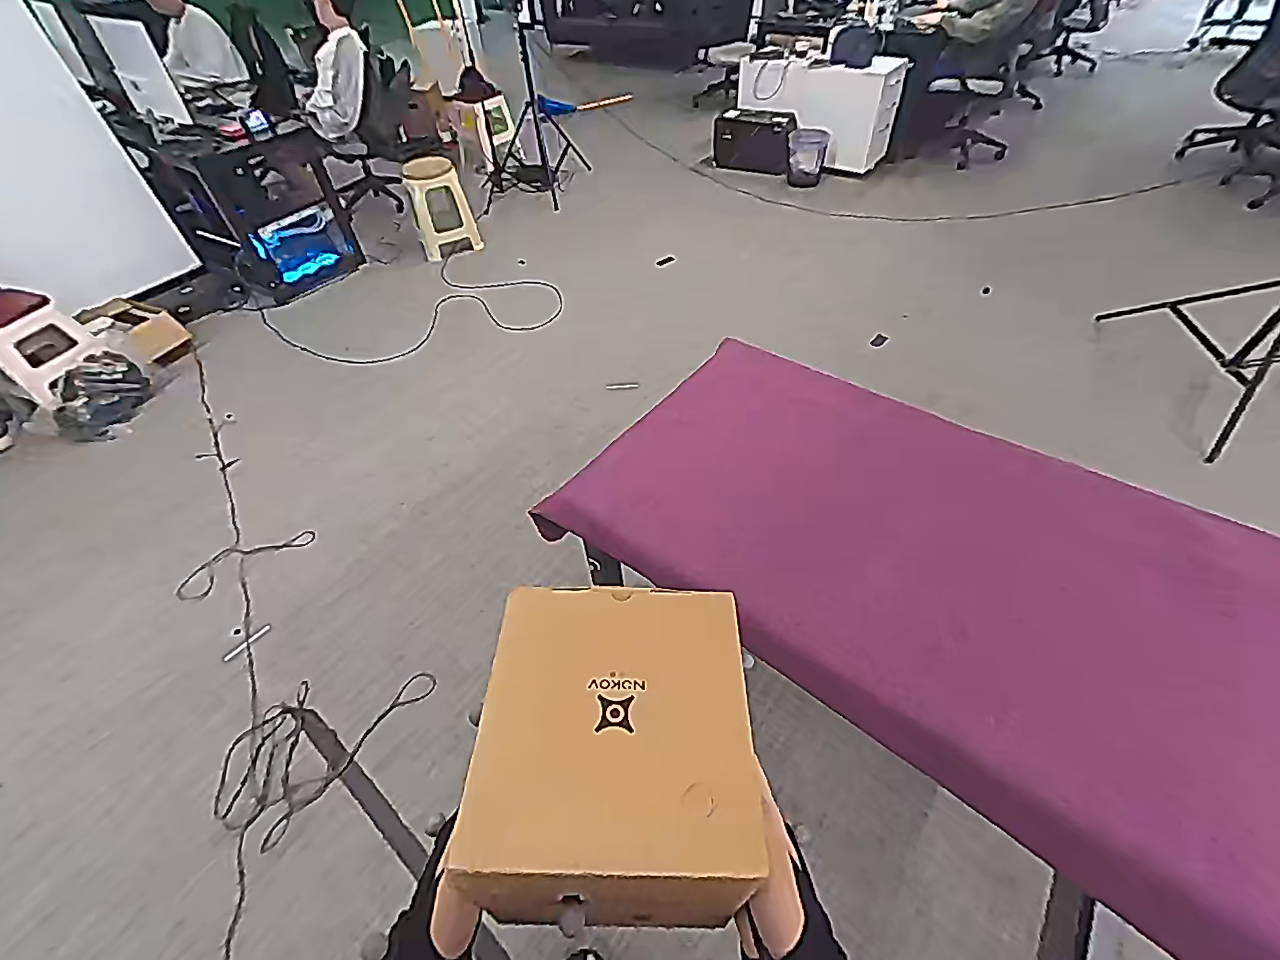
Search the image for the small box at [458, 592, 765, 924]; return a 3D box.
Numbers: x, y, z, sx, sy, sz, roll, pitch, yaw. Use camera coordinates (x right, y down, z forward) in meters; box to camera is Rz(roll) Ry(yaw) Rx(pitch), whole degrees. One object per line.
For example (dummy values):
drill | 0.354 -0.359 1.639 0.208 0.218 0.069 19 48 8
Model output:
small box | -0.015 0.202 0.395 0.168 0.176 0.179 1 42 -1
